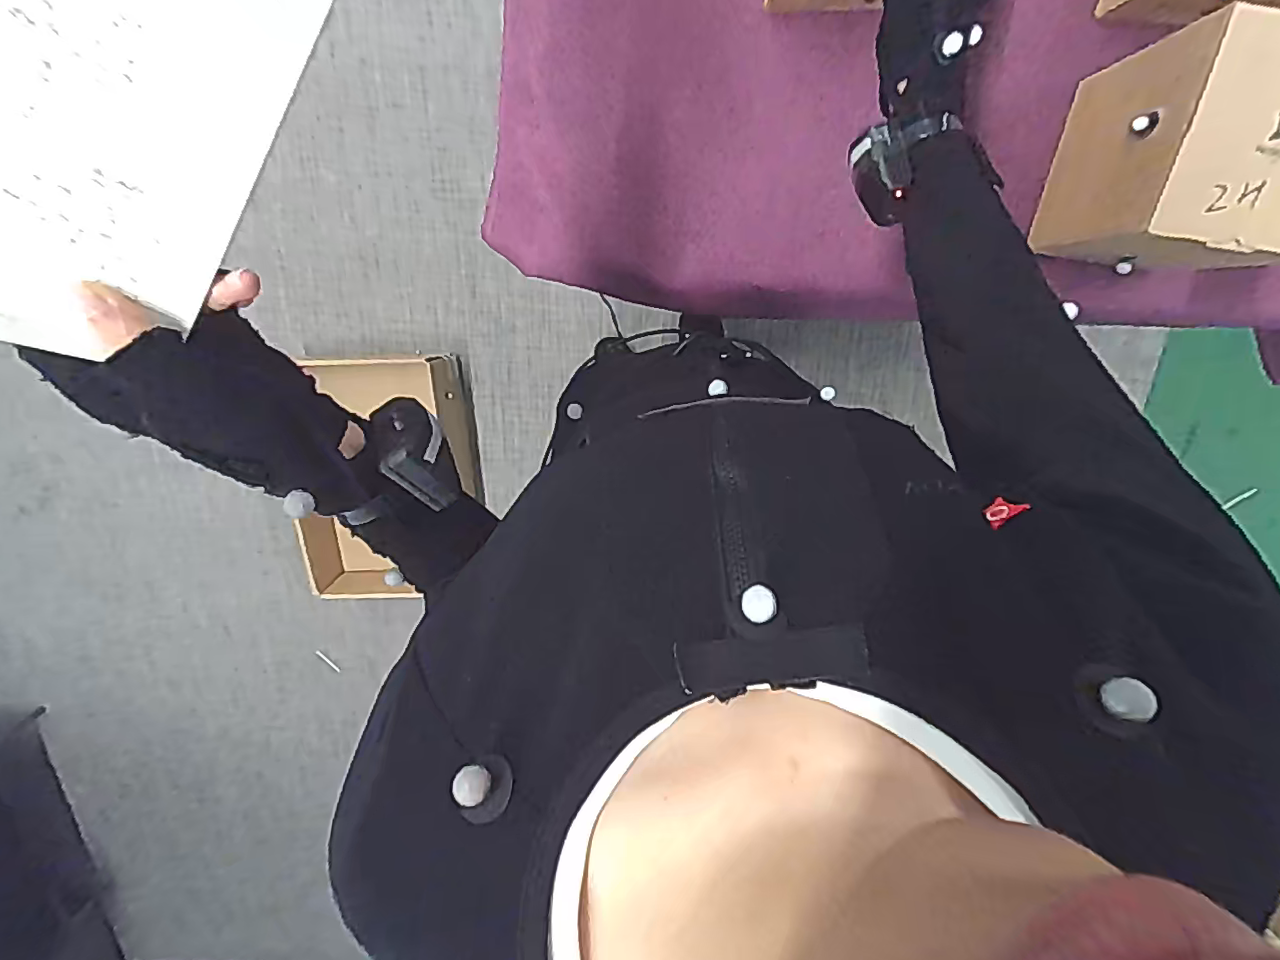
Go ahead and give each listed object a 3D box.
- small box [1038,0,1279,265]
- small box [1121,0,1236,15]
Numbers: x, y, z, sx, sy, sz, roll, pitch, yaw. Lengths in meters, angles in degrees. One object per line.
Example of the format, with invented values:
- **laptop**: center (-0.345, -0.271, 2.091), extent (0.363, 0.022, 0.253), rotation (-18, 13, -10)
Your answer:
- **small box**: center (0.545, -0.321, 0.532), extent (0.168, 0.176, 0.179), rotation (8, 108, -1)
- **small box**: center (0.561, -0.538, 0.462), extent (0.168, 0.176, 0.179), rotation (2, 108, 0)
